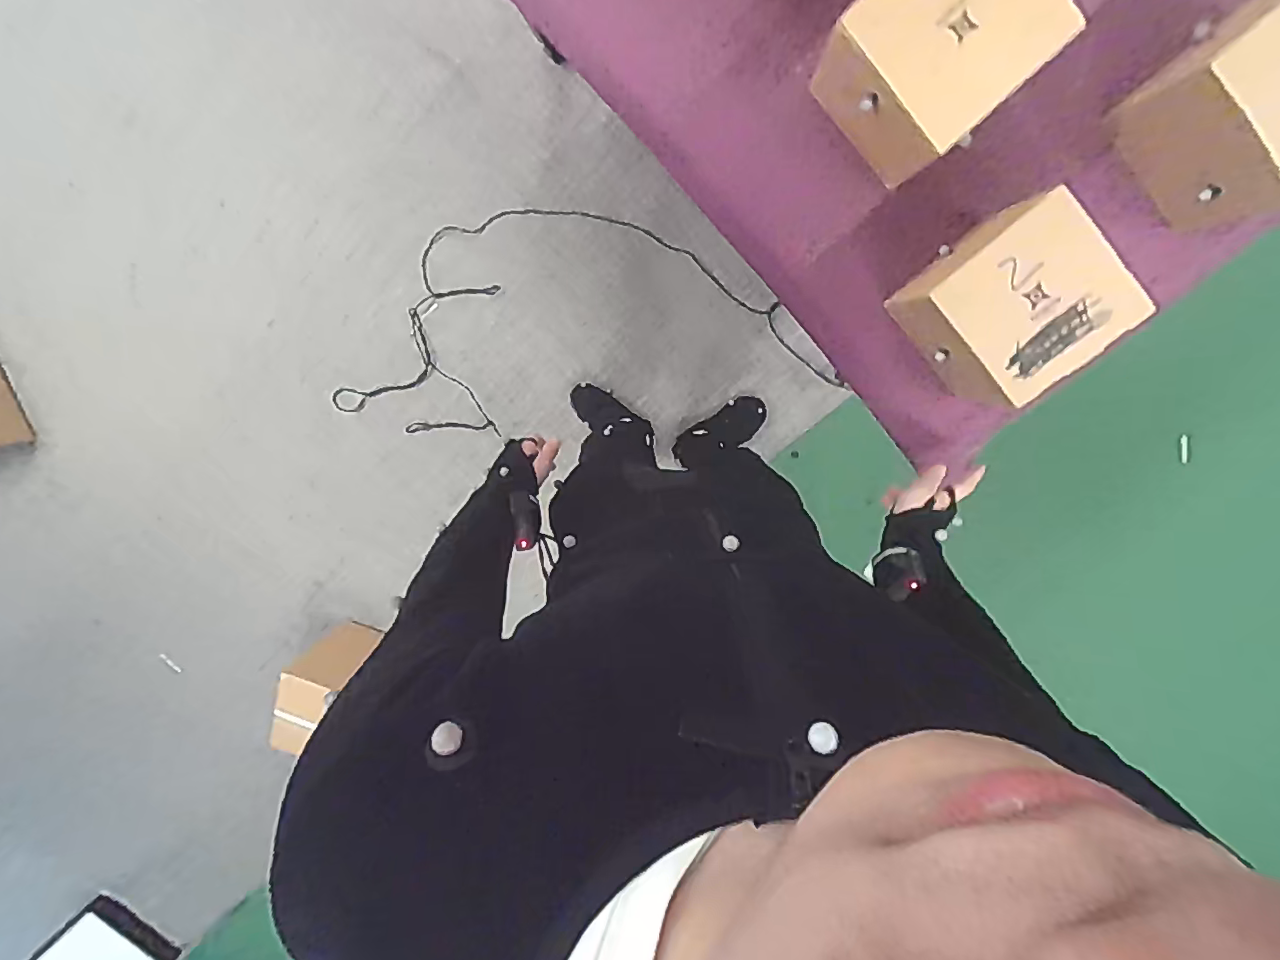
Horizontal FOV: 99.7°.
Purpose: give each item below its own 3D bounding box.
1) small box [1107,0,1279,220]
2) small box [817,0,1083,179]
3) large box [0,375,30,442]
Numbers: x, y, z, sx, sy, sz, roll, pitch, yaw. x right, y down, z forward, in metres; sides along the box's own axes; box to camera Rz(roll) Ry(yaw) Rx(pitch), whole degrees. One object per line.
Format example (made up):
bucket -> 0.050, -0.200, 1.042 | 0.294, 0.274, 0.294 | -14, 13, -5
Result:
small box -> 0.677, -0.408, 0.584 | 0.168, 0.176, 0.179 | -39, 97, 17
small box -> 0.328, -0.475, 0.613 | 0.168, 0.176, 0.179 | -40, 97, 17
large box -> -2.315, -0.278, 1.707 | 0.320, 0.320, 0.408 | -9, 106, 11
